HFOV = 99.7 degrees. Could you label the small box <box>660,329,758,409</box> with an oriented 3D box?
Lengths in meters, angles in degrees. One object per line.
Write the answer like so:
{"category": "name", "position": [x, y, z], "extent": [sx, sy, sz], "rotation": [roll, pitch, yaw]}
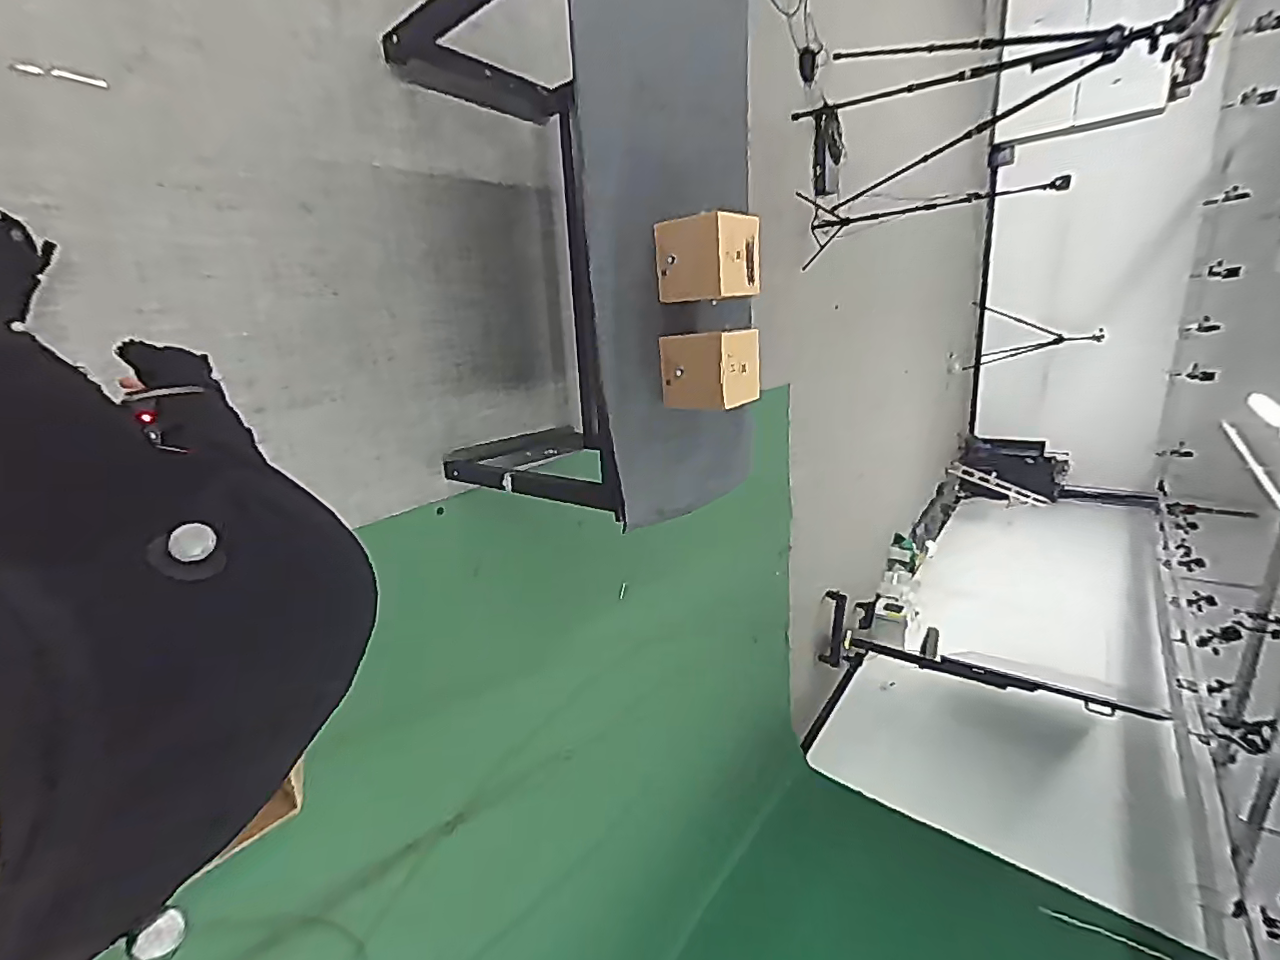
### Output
{"category": "small box", "position": [0.166, -0.266, 1.280], "extent": [0.179, 0.176, 0.168], "rotation": [-23, 113, -47]}
